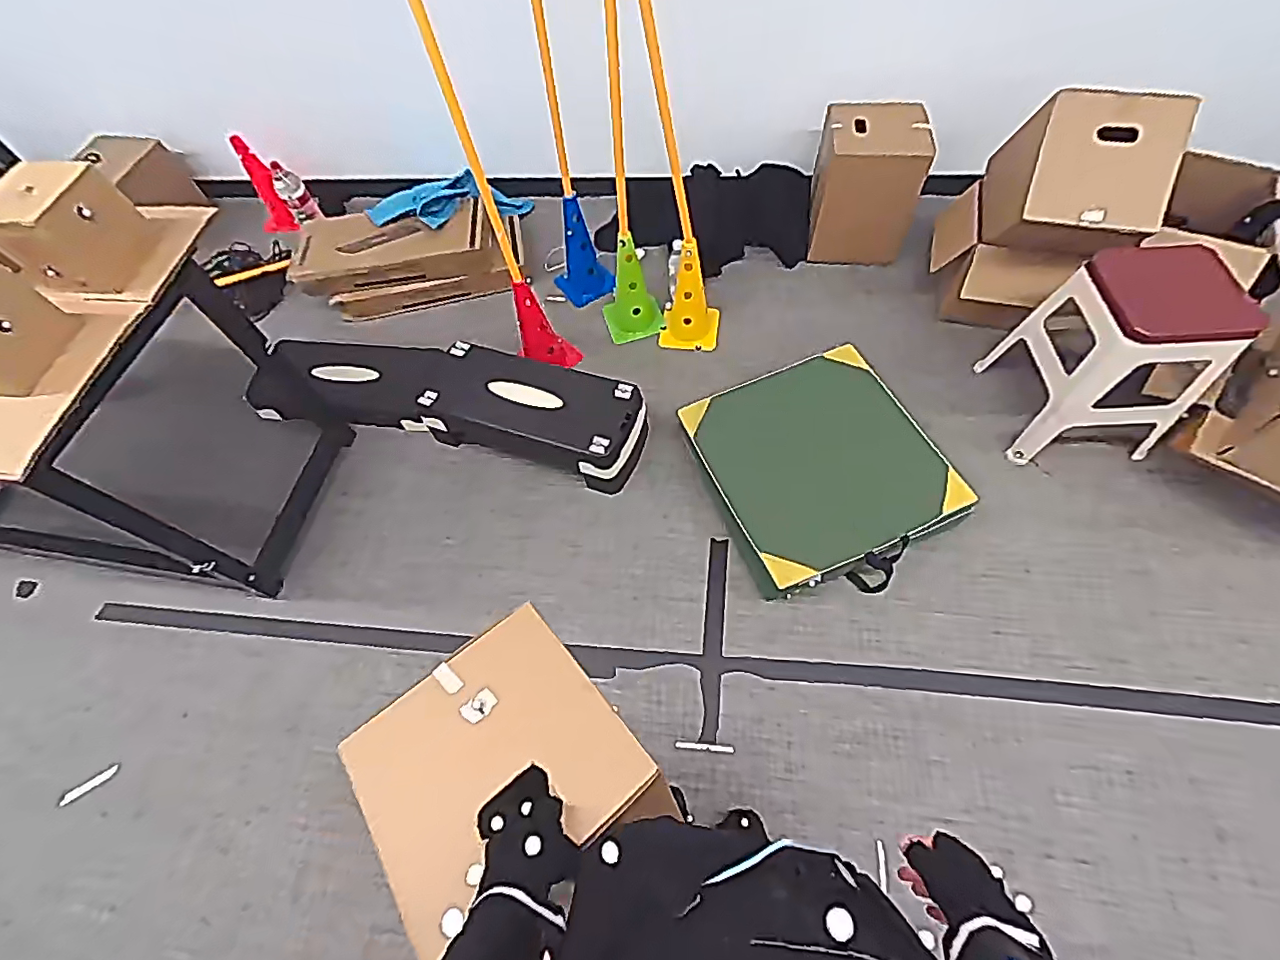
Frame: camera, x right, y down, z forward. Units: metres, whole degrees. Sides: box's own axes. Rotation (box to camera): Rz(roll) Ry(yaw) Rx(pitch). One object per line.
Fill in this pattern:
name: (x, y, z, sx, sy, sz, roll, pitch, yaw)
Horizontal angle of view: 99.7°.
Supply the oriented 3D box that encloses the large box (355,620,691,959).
large box: (-0.150, 0.490, 0.834, 0.320, 0.408, 0.320, -35, 53, -18)
